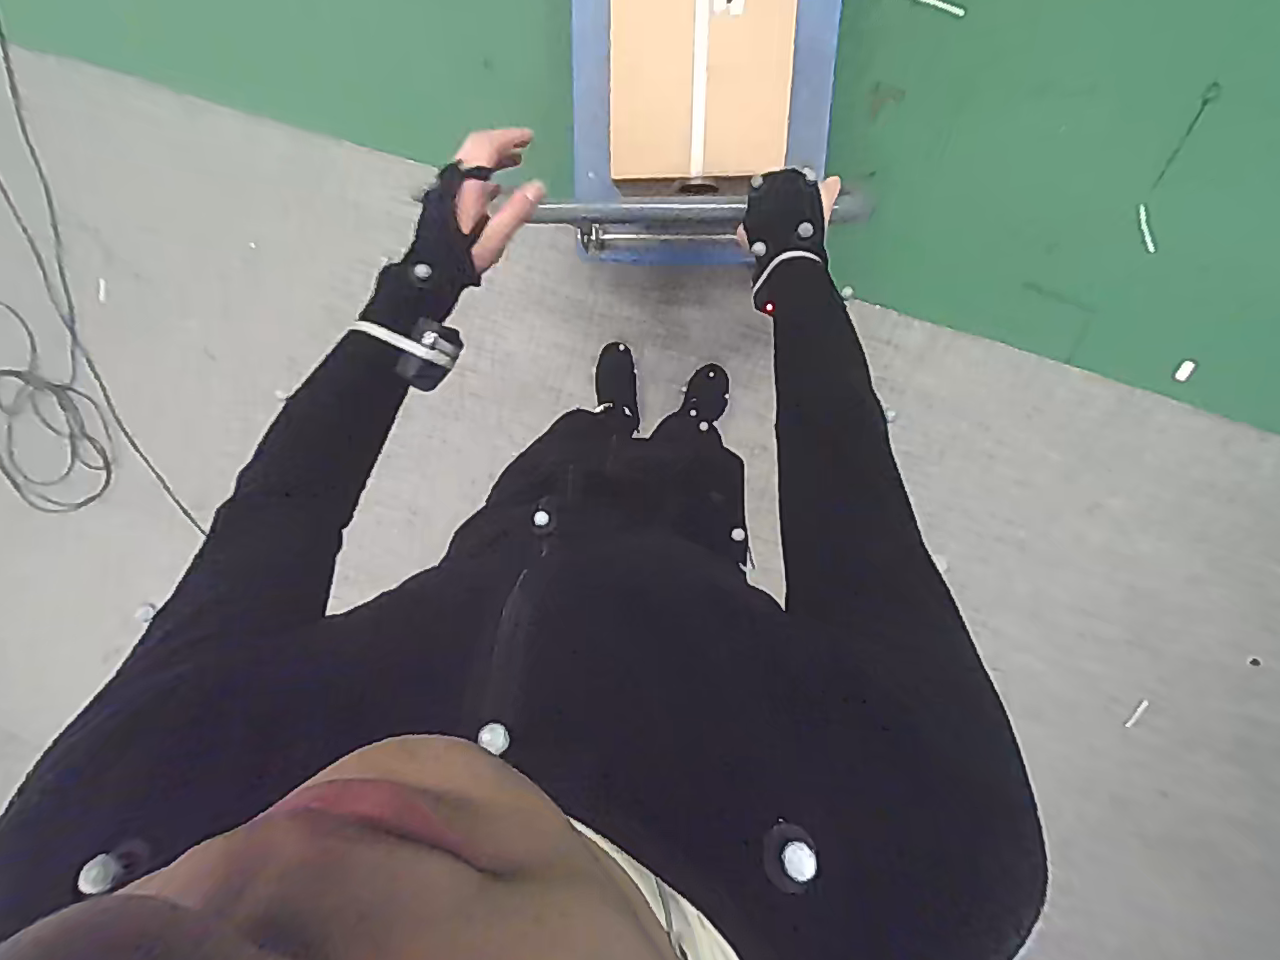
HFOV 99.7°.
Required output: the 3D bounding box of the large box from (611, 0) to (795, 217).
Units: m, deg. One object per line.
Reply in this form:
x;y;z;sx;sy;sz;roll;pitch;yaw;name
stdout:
0.125;-0.773;1.073;0.320;0.320;0.408;3;105;7;large box
